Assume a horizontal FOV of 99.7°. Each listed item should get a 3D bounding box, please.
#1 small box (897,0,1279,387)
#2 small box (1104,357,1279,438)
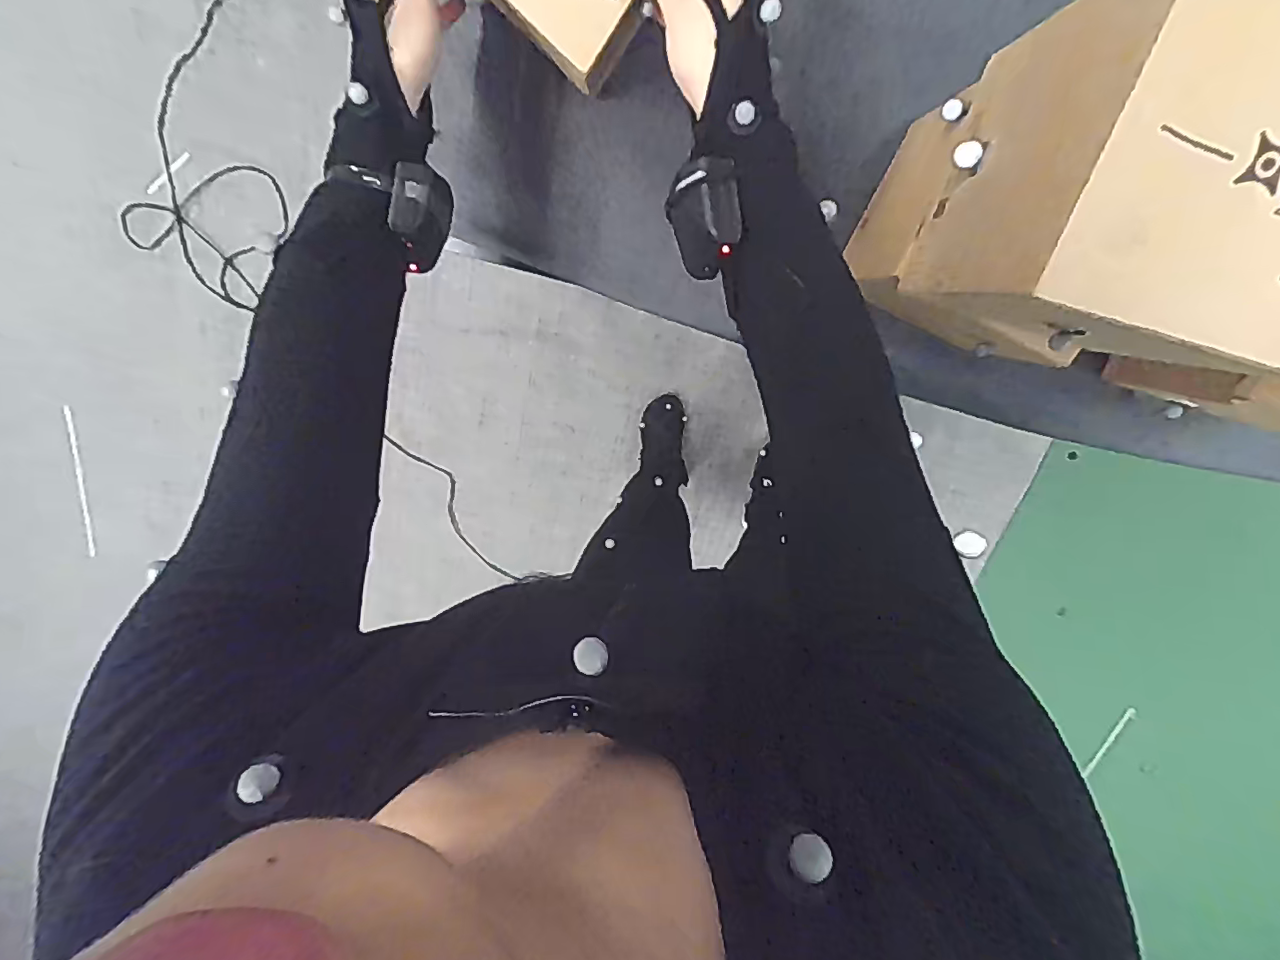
[{"bbox_3d":[0.304,-0.172,0.339,0.179,0.176,0.168,15,109,-3],"label":"small box"},{"bbox_3d":[0.613,-0.139,0.518,0.168,0.176,0.179,15,109,-2],"label":"small box"}]
